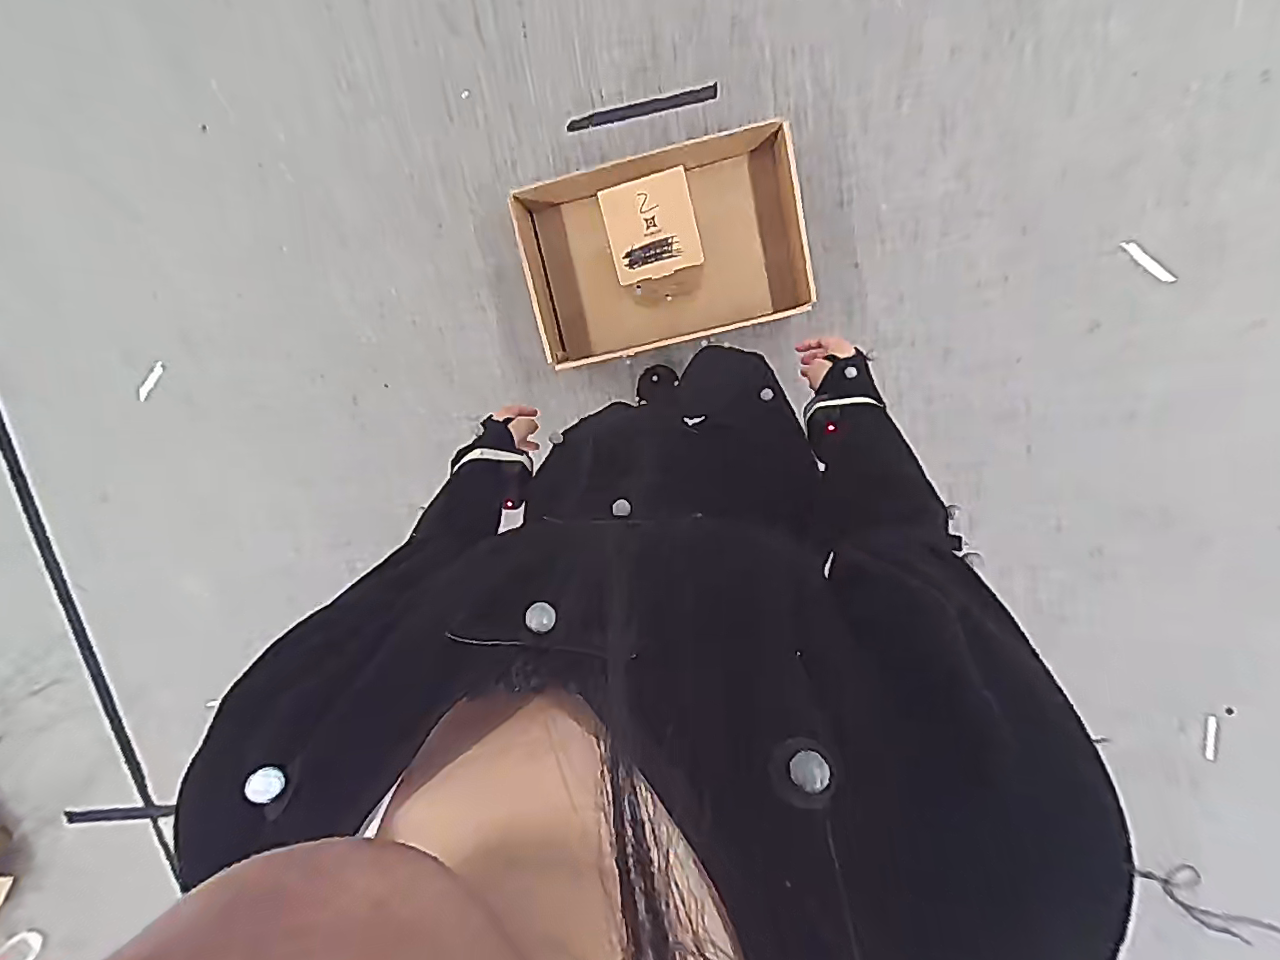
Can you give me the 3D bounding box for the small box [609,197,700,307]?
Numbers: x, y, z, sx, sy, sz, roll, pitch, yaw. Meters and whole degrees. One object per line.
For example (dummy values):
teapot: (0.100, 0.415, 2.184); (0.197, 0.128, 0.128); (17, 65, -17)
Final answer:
small box: (0.035, -0.513, 1.241); (0.168, 0.176, 0.179); (-14, 101, 7)
